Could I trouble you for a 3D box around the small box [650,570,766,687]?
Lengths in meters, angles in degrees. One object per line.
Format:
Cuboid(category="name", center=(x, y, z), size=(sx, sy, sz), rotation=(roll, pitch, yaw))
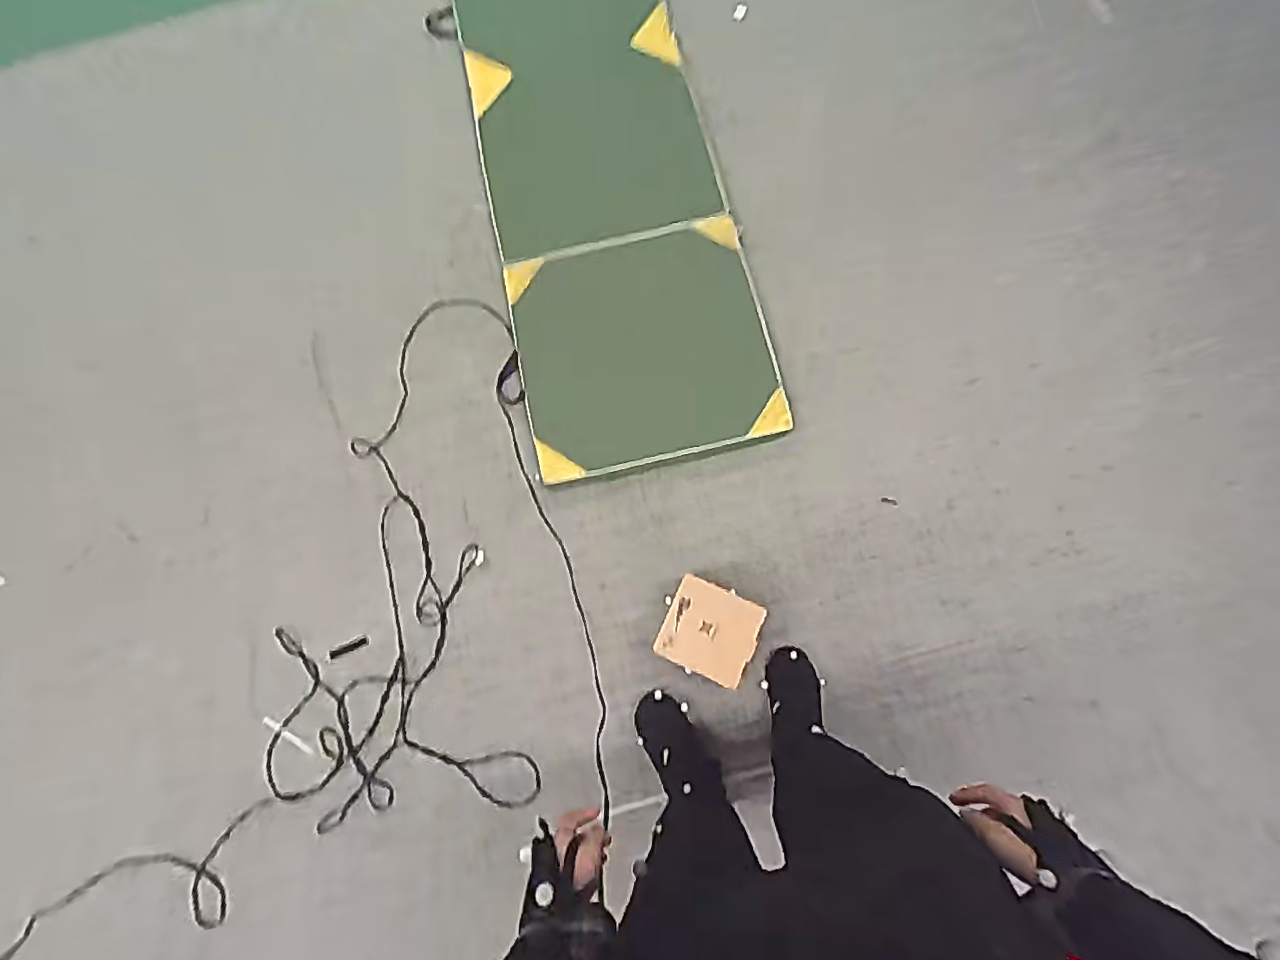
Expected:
Cuboid(category="small box", center=(0.134, 0.298, 1.112), size=(0.179, 0.176, 0.168), rotation=(24, 79, 8))
